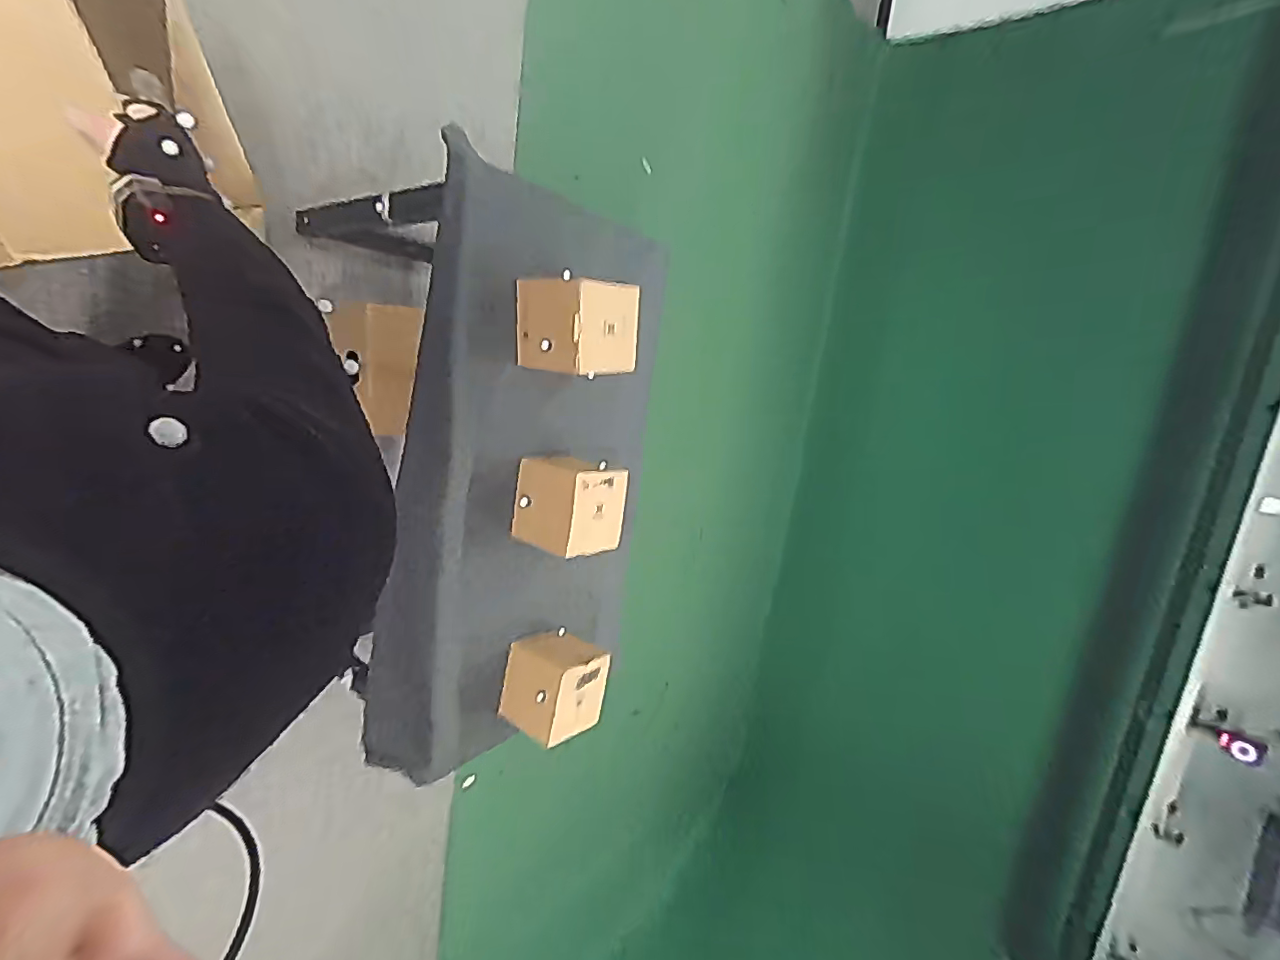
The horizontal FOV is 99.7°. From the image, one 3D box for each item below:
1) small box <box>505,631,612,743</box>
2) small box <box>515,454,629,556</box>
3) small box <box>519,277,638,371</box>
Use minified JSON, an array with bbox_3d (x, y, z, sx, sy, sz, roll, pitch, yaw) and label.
[{"bbox_3d":[-0.193,0.467,1.256,0.168,0.176,0.179,3,100,-54],"label":"small box"},{"bbox_3d":[-0.150,0.047,1.165,0.168,0.176,0.179,-4,106,-54],"label":"small box"},{"bbox_3d":[-0.125,-0.310,1.071,0.179,0.176,0.168,-21,121,-52],"label":"small box"}]
